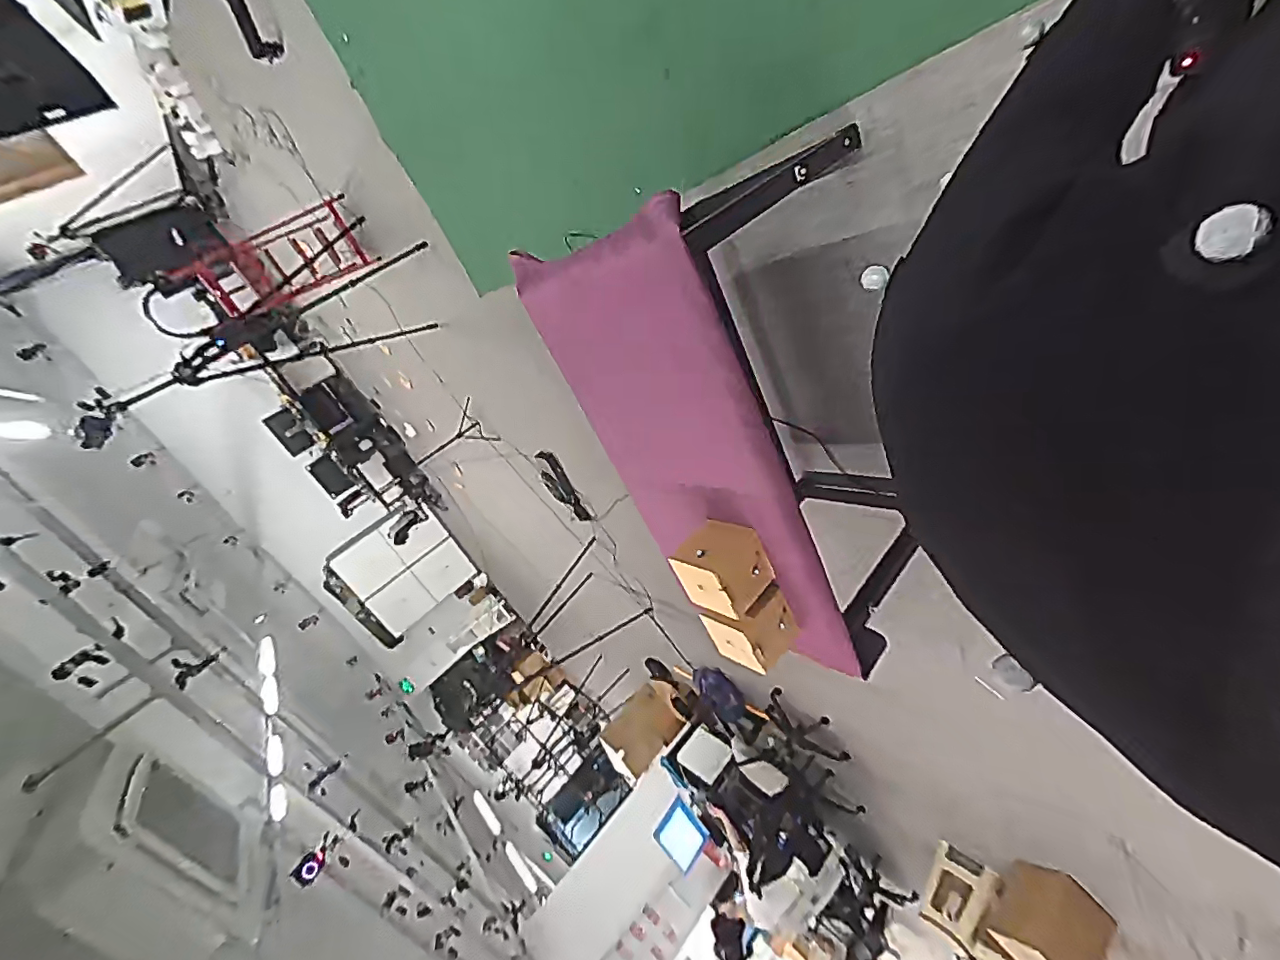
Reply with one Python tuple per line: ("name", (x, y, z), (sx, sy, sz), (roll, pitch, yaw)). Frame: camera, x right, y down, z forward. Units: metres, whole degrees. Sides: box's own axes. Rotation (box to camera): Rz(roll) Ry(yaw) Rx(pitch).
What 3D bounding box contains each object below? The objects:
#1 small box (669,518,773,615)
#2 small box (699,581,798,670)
("small box", (0.215, 0.217, 1.416), (0.179, 0.176, 0.168), (8, 133, 52))
("small box", (0.303, 0.384, 1.500), (0.179, 0.176, 0.168), (8, 133, 53))
